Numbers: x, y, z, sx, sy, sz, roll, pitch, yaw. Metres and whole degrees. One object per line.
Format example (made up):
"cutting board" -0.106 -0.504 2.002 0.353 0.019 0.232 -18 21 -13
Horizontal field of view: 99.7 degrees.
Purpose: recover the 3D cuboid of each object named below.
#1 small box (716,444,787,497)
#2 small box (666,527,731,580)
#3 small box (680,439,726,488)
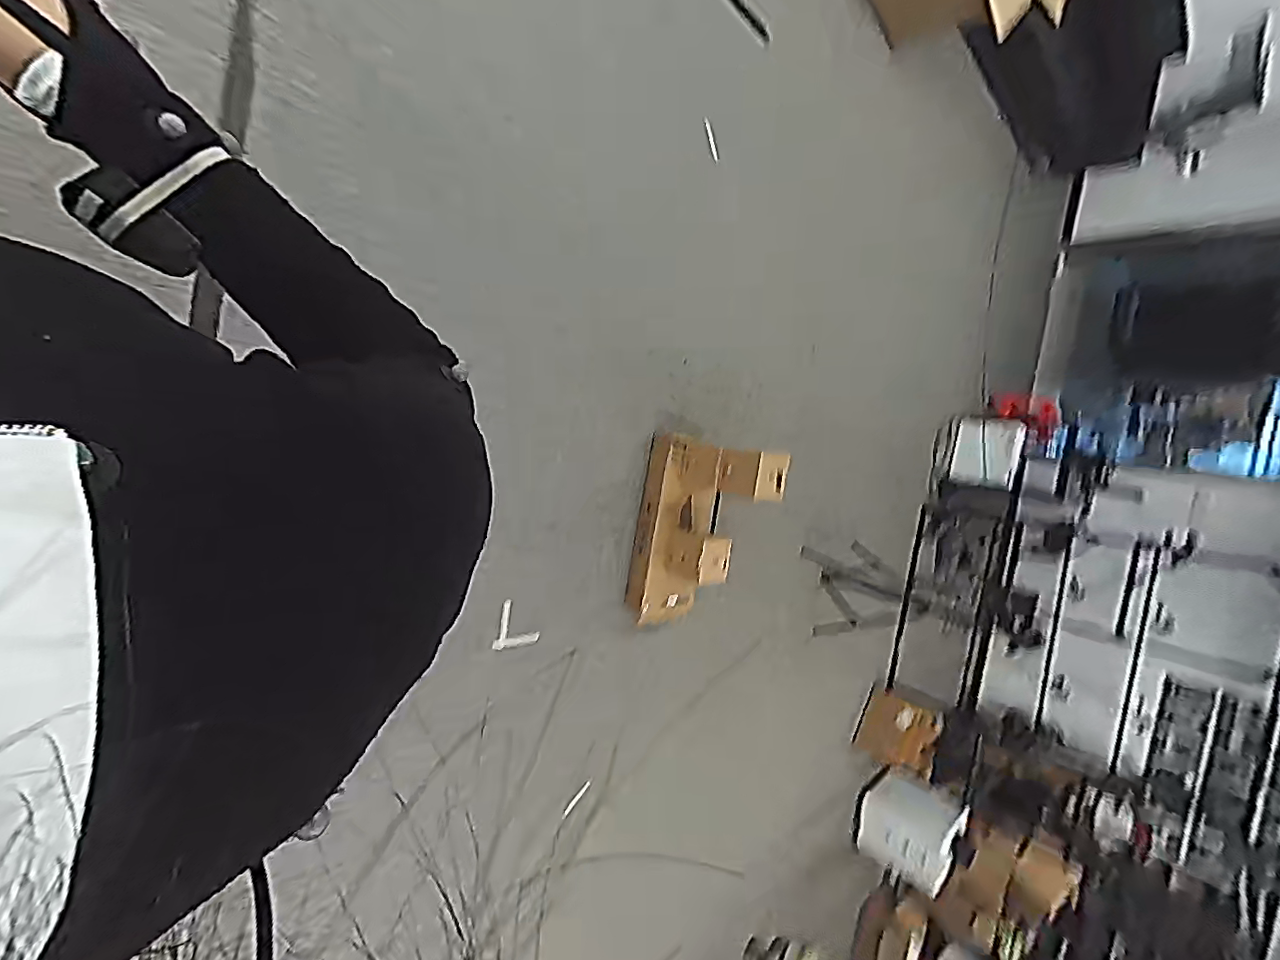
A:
"small box" 0.403 -0.037 1.964 0.179 0.176 0.168 3 97 -43
"small box" 0.223 0.281 2.095 0.179 0.176 0.168 2 98 -43
"small box" 0.280 -0.063 2.072 0.179 0.176 0.168 5 96 -44
